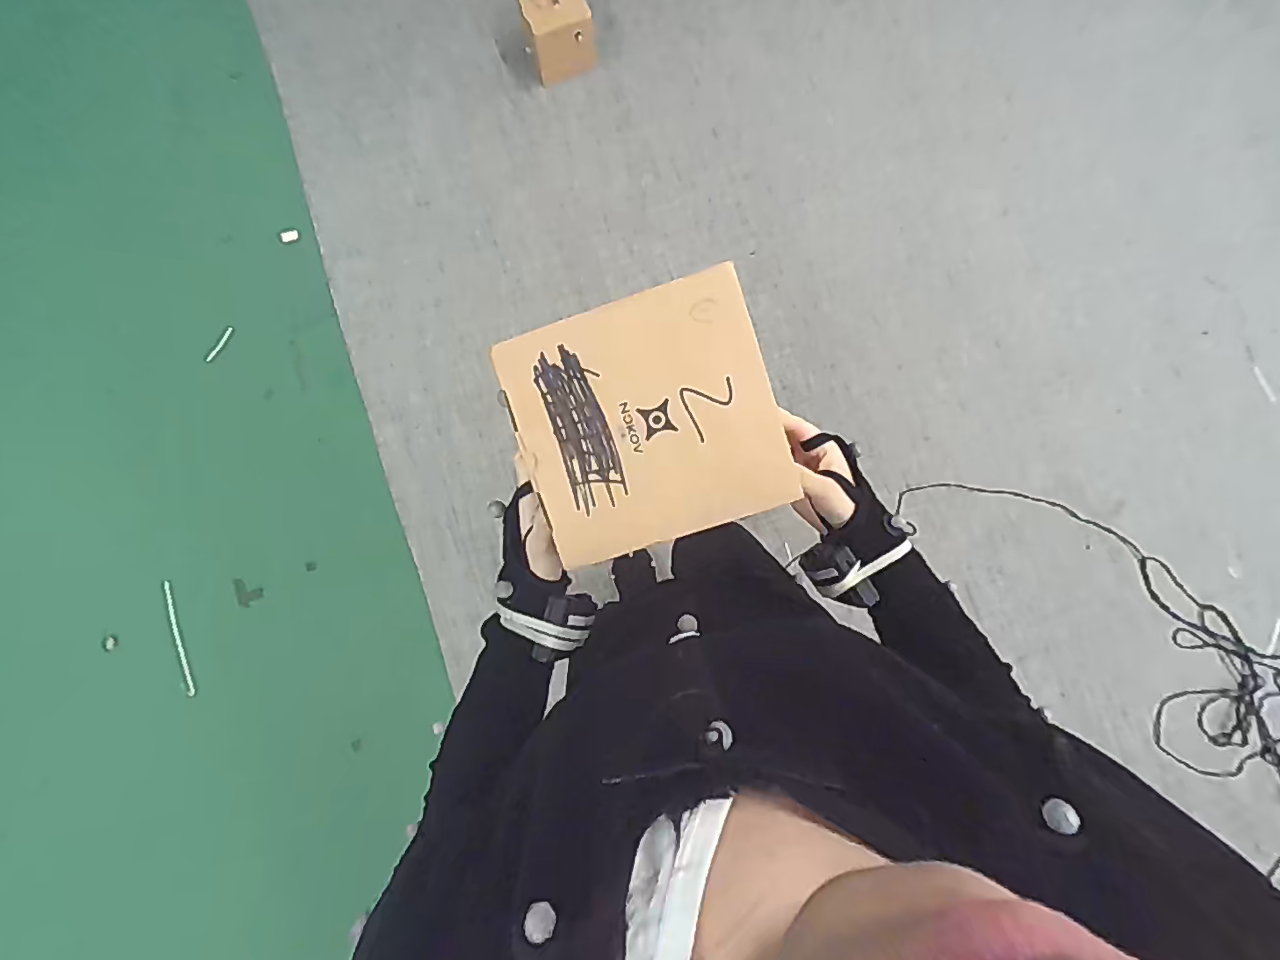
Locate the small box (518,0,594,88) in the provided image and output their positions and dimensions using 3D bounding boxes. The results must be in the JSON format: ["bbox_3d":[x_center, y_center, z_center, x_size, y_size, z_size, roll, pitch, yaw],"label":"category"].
[{"bbox_3d":[-0.243,-1.316,1.597,0.179,0.176,0.168,-23,84,-3],"label":"small box"}]
